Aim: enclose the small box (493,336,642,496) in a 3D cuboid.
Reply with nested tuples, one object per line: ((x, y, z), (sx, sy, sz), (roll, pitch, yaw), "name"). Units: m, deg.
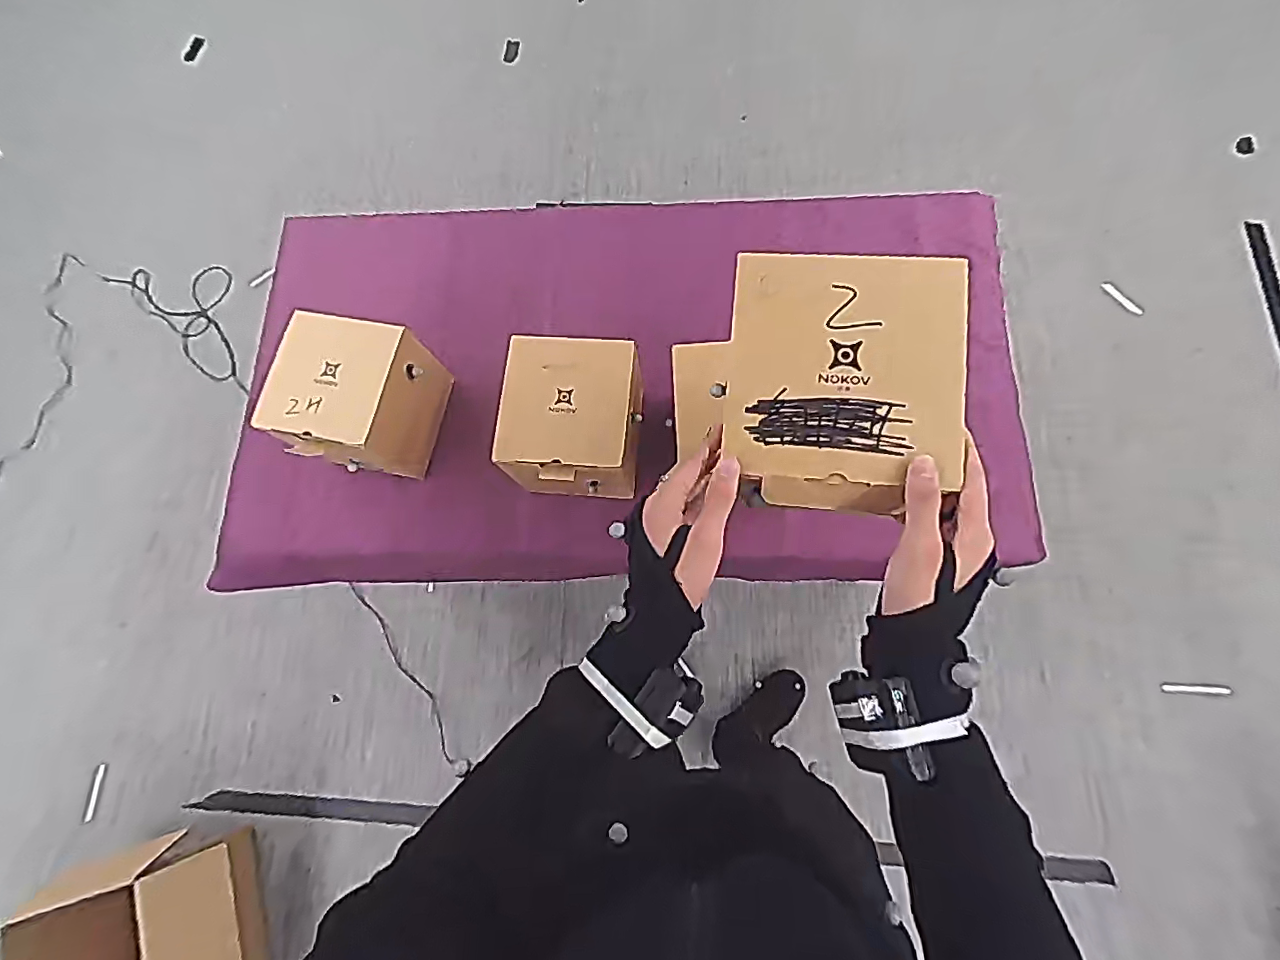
((-0.088, -0.080, 0.759), (0.168, 0.176, 0.179), (4, 76, 5), "small box")

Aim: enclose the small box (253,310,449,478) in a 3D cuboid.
((-0.402, -0.118, 0.790), (0.168, 0.176, 0.179), (11, 77, 7), "small box")
